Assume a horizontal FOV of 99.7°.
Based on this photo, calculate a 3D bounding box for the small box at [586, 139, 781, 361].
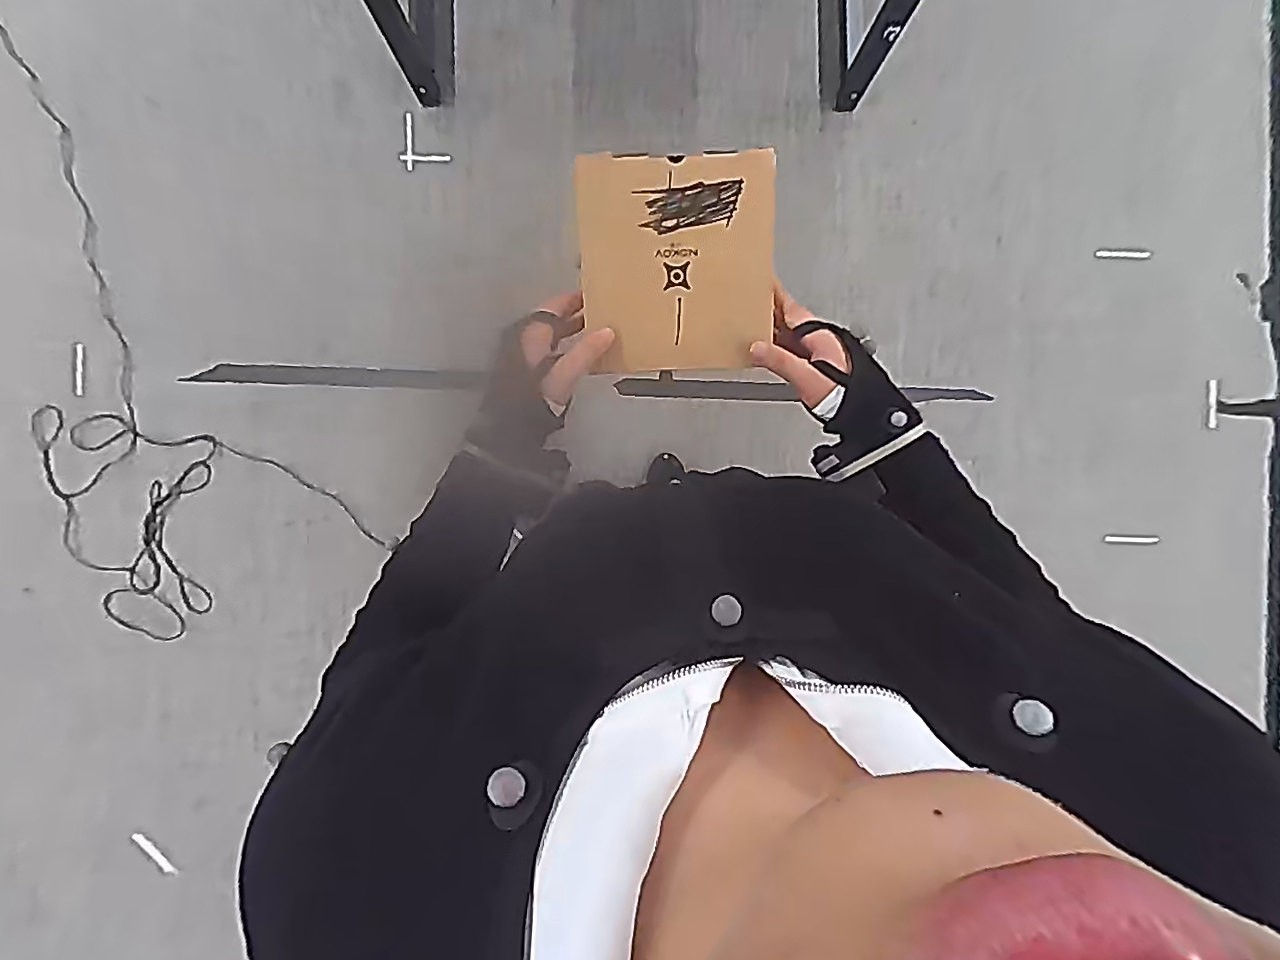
[{"bbox_3d":[0.036,-0.210,0.538,0.168,0.176,0.179,-2,103,0],"label":"small box"}]
